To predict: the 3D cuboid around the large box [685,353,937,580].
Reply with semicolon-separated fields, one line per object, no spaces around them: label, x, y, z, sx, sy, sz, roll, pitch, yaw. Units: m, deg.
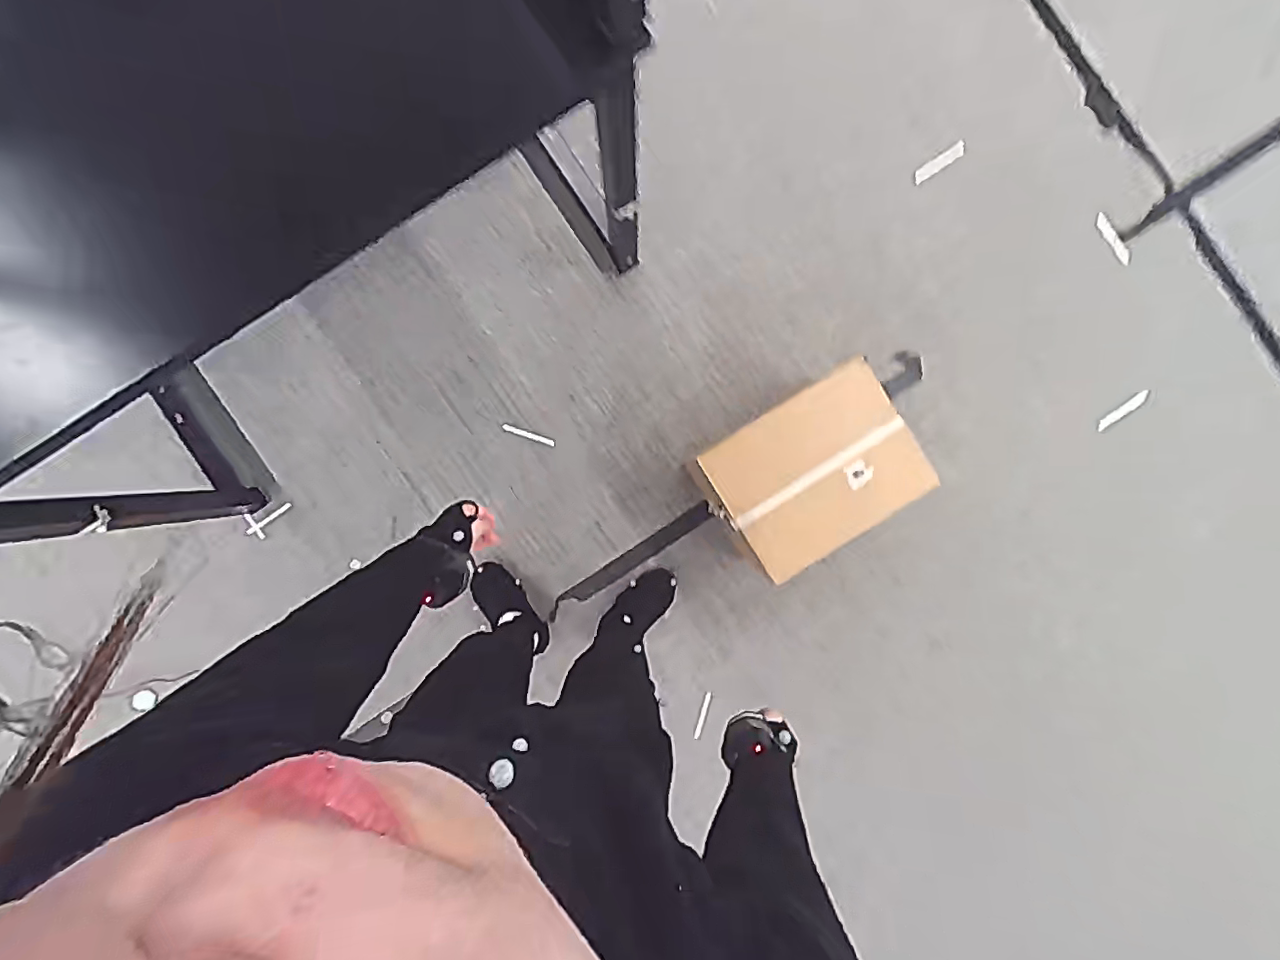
large box;0.362;-0.027;1.251;0.408;0.320;0.320;-32;92;-1
